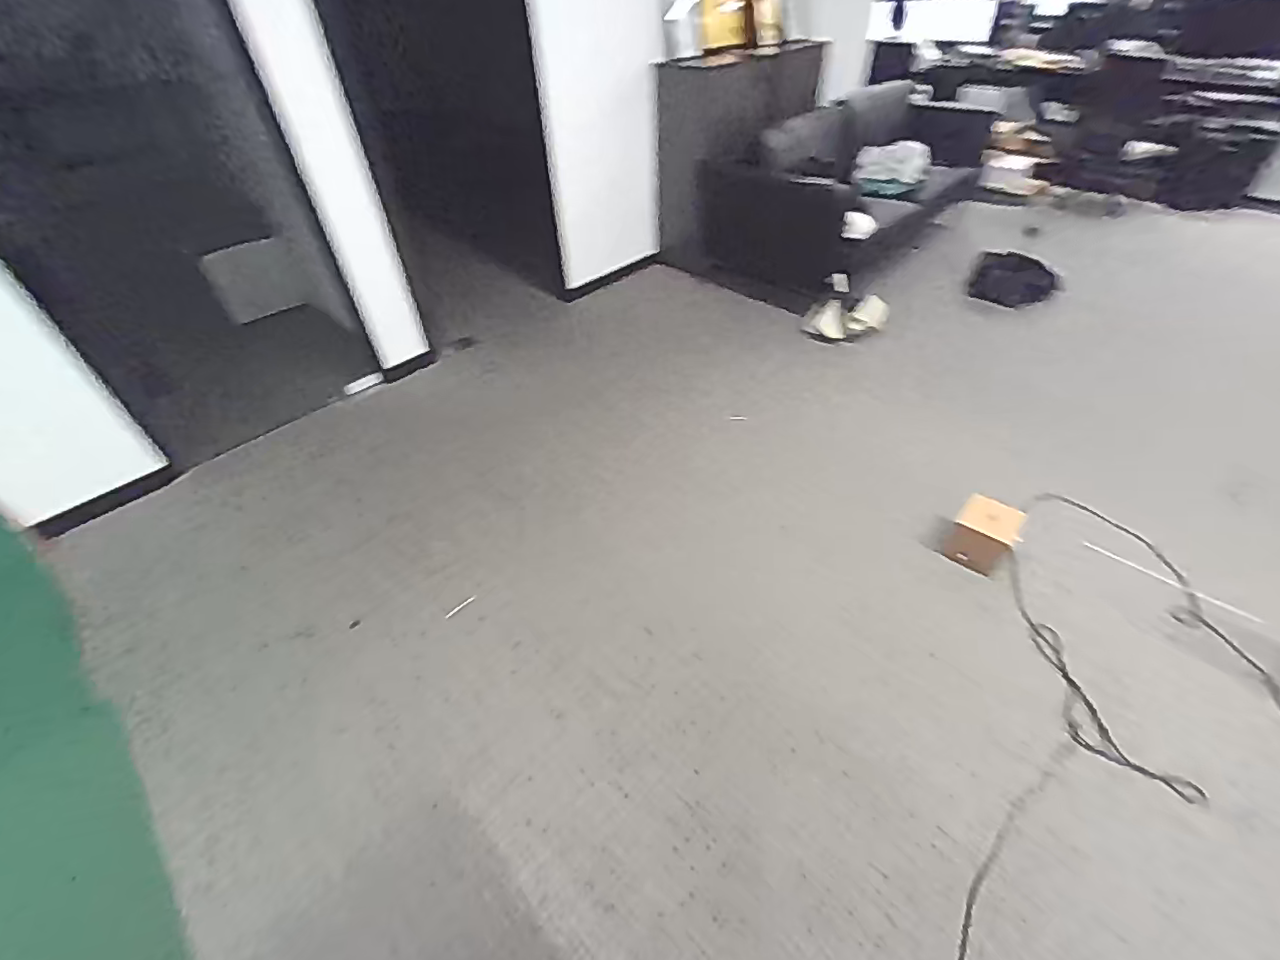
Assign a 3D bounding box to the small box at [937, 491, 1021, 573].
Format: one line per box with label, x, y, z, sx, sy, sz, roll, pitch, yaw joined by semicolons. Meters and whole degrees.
small box;1.130;0.175;1.813;0.168;0.176;0.179;30;53;31
